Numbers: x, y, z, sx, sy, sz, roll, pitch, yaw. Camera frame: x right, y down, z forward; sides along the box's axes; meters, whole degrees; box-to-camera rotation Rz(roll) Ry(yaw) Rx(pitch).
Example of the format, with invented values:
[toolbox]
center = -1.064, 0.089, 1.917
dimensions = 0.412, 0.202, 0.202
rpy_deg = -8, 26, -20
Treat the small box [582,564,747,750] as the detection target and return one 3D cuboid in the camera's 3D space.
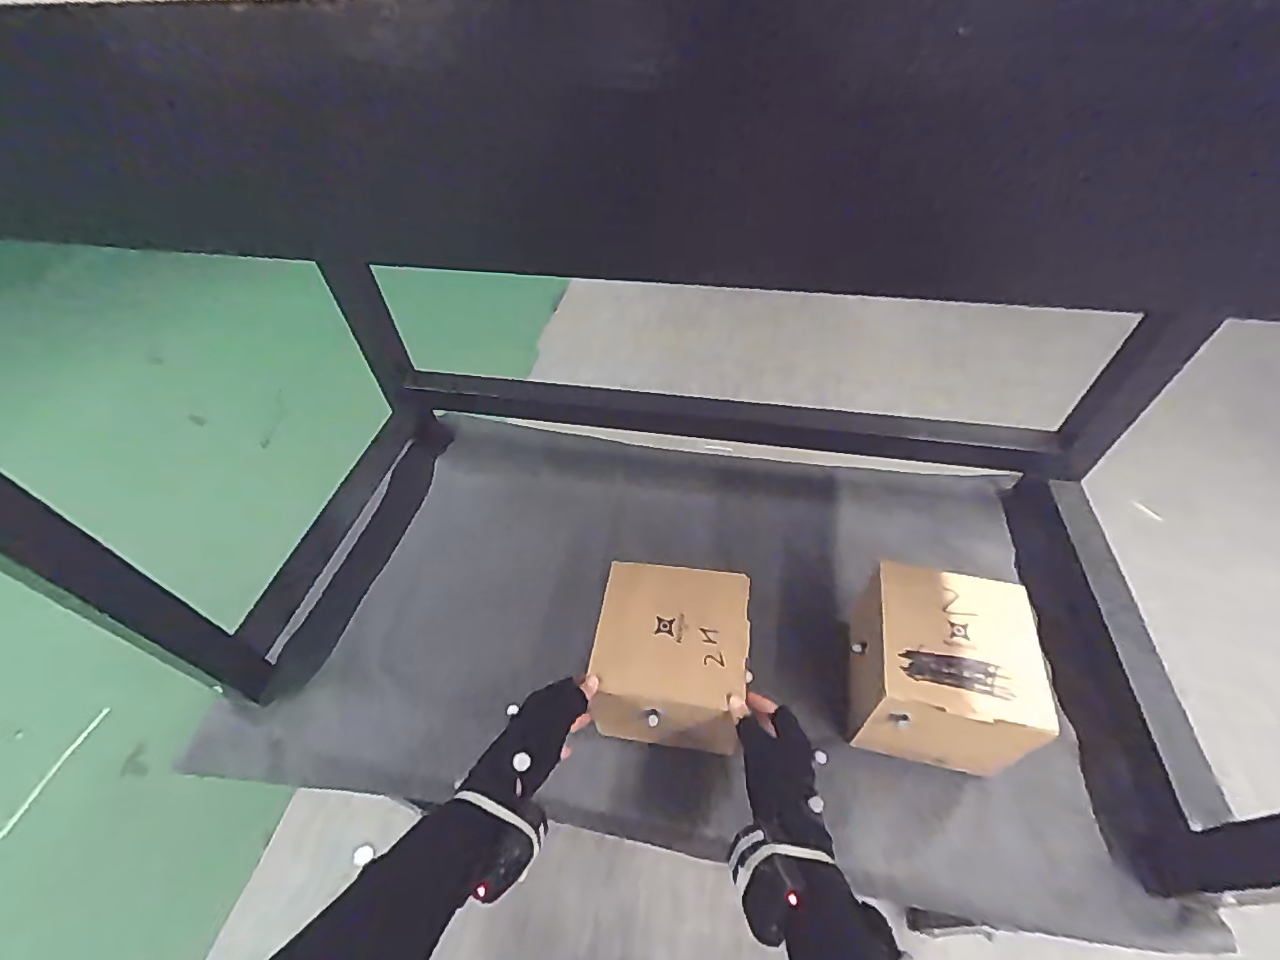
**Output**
[small box]
center = 0.038, 0.227, 0.689
dimensions = 0.179, 0.176, 0.168
rpy_deg = 5, 50, 8
